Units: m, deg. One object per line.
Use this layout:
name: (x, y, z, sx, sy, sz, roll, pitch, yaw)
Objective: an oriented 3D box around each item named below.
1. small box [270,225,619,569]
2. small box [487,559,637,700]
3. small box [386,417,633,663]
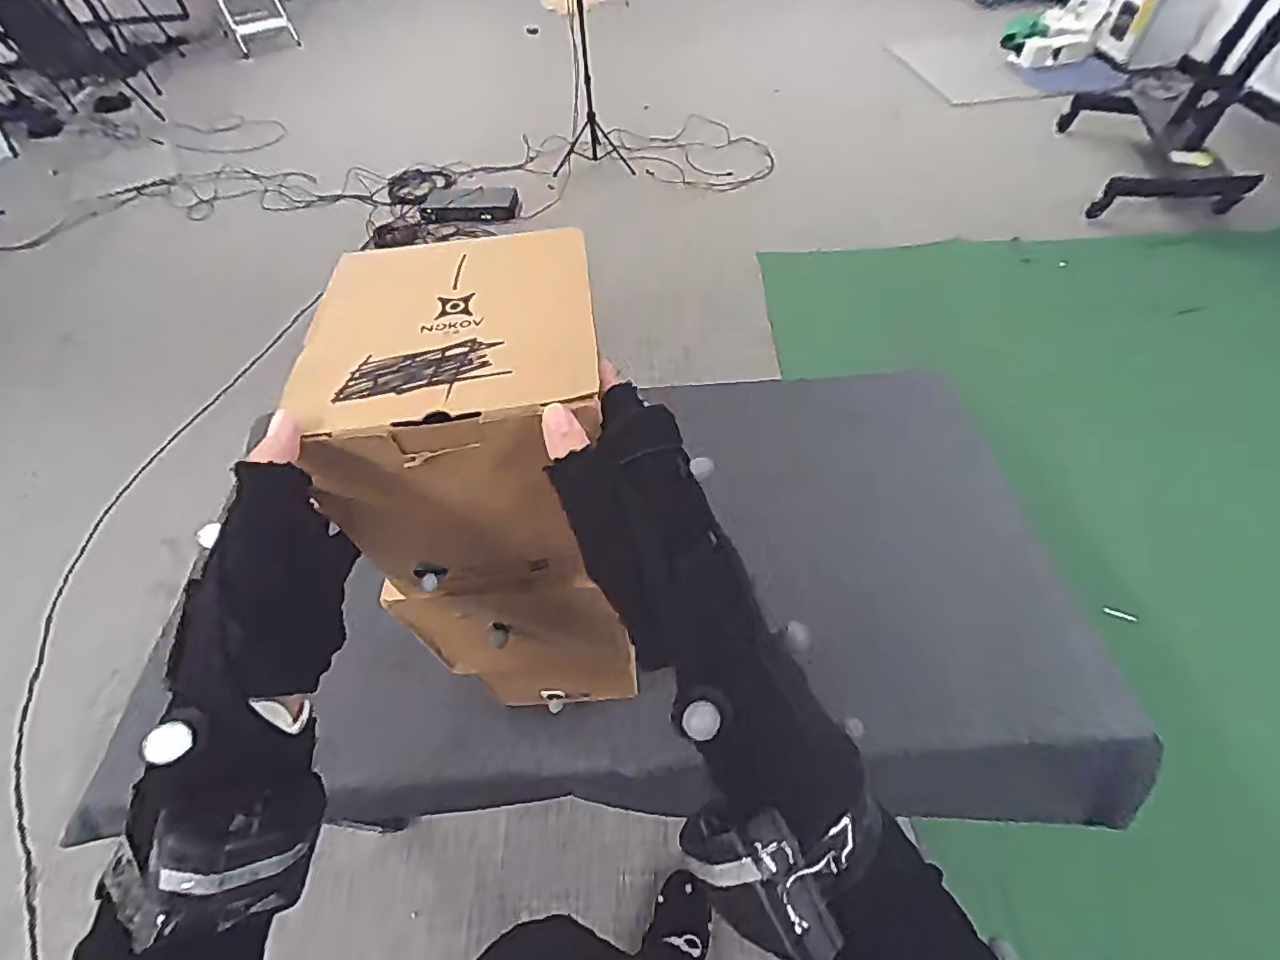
small box: (-0.108, -0.050, 0.384, 0.168, 0.176, 0.179, -7, 51, -1)
small box: (-0.094, 0.146, 0.648, 0.168, 0.176, 0.179, -6, 54, 1)
small box: (-0.103, 0.060, 0.511, 0.179, 0.176, 0.168, -5, 50, -1)
